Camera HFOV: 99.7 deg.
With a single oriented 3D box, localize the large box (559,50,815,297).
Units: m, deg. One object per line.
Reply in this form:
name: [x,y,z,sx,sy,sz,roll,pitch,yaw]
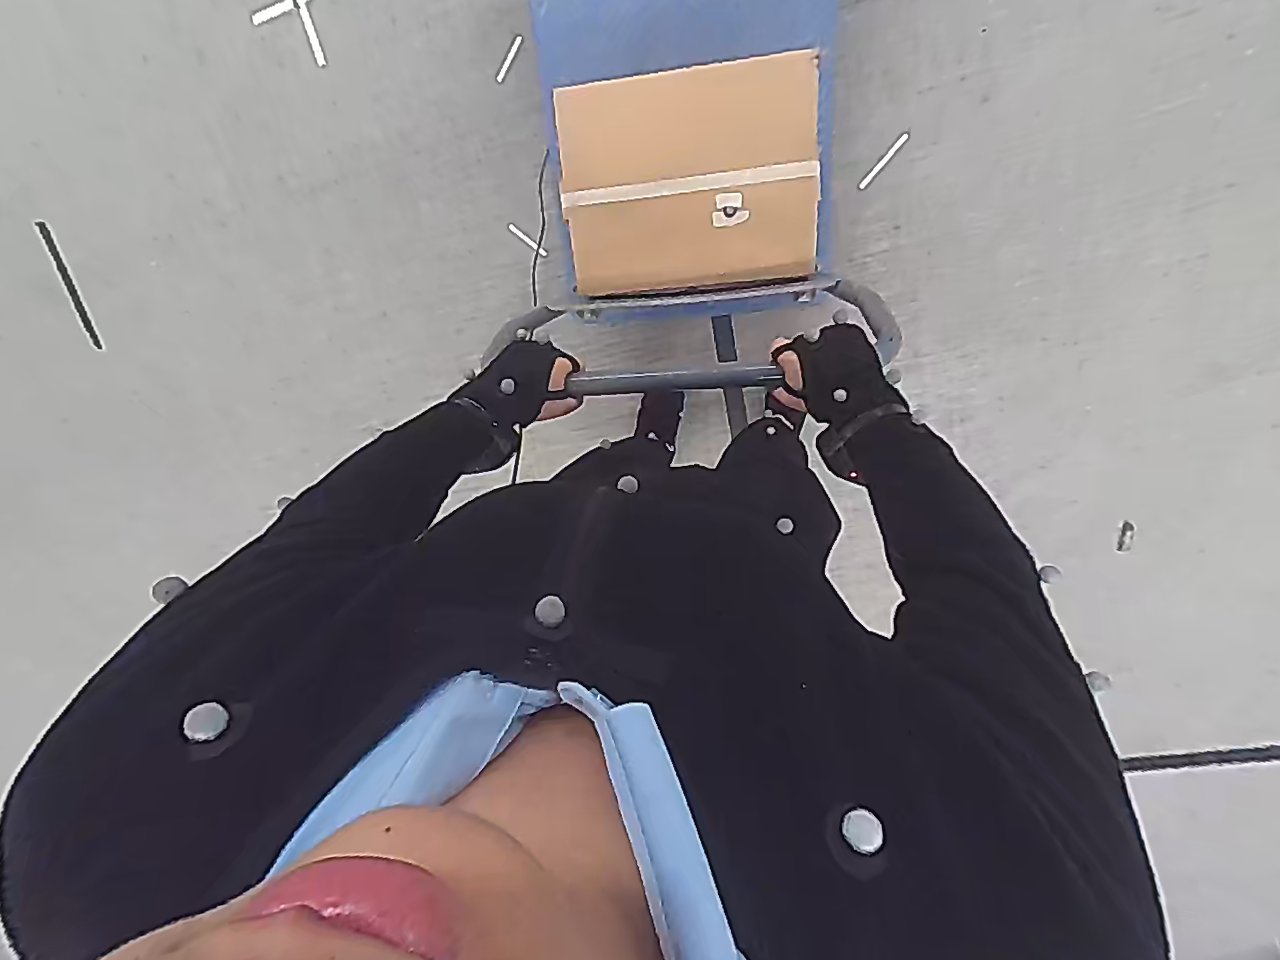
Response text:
large box: [0.096,-0.534,1.021,0.408,0.320,0.320,-3,111,8]
